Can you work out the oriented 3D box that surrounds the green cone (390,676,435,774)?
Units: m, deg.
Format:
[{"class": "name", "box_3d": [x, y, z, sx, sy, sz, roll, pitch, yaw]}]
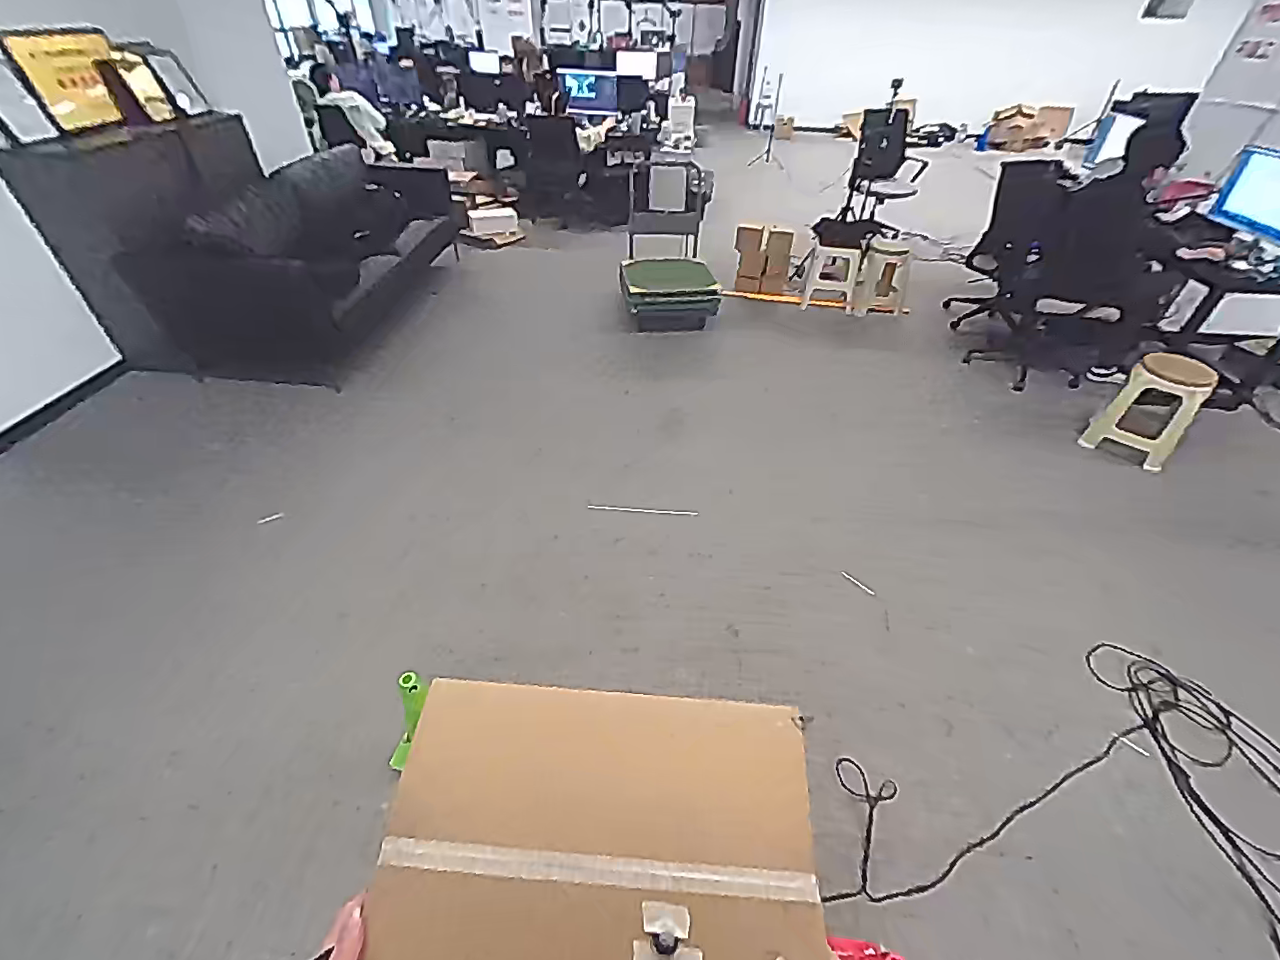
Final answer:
[{"class": "green cone", "box_3d": [-0.600, 0.636, 1.476, 0.200, 0.368, 0.202, 8, 43, 7]}]

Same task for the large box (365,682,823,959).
[{"class": "large box", "box_3d": [-0.038, 0.447, 0.628, 0.408, 0.320, 0.320, 3, 54, 2]}]
